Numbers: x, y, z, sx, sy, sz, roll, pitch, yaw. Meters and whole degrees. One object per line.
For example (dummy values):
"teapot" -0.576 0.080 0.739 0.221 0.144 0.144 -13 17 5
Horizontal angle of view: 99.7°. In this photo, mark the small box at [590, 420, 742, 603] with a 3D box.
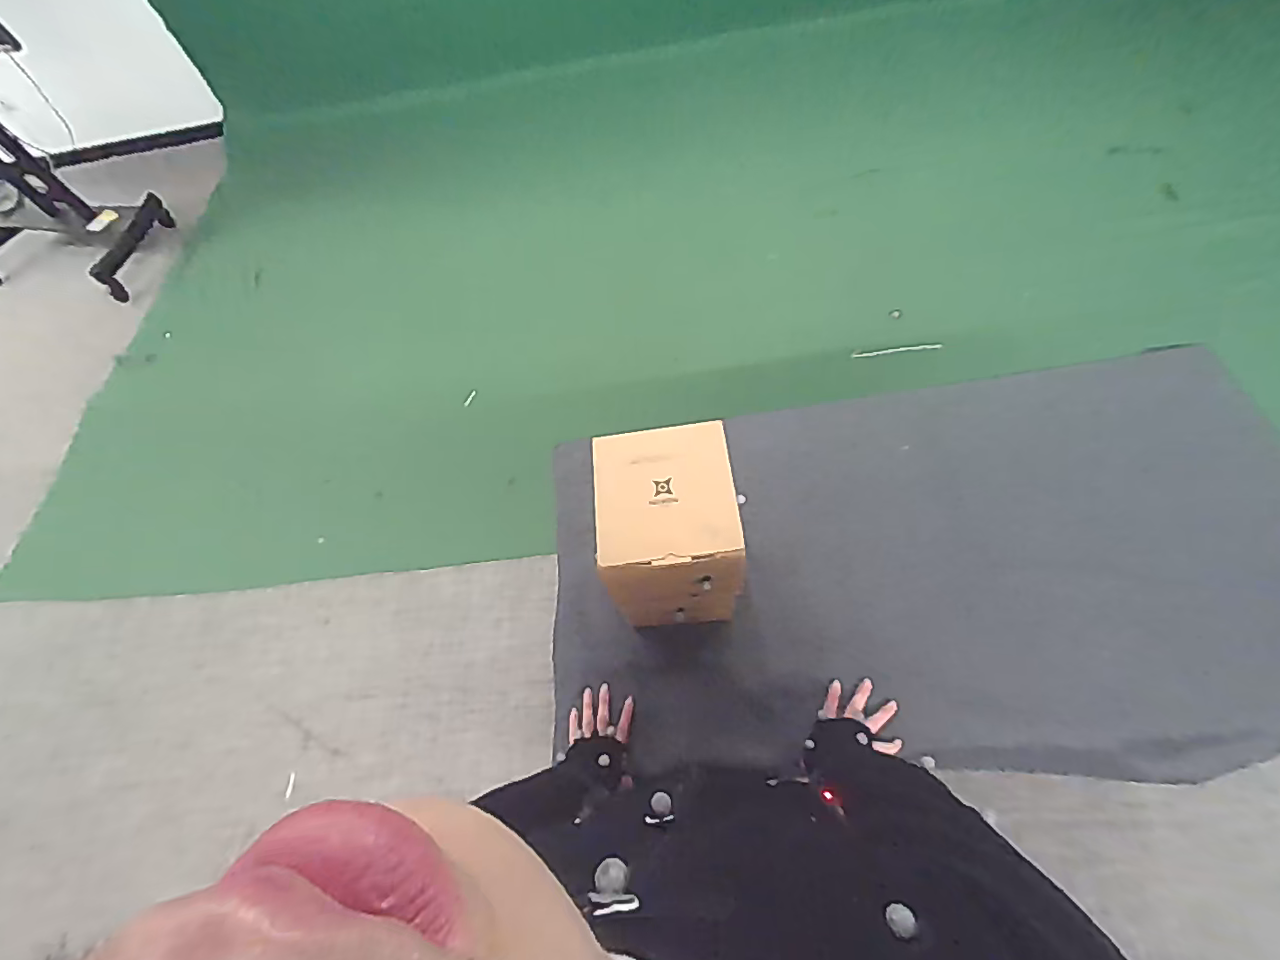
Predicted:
"small box" 0.034 0.050 0.692 0.168 0.176 0.179 -7 59 3

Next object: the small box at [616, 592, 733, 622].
"small box" 0.054 0.117 0.839 0.168 0.176 0.179 -6 60 5
